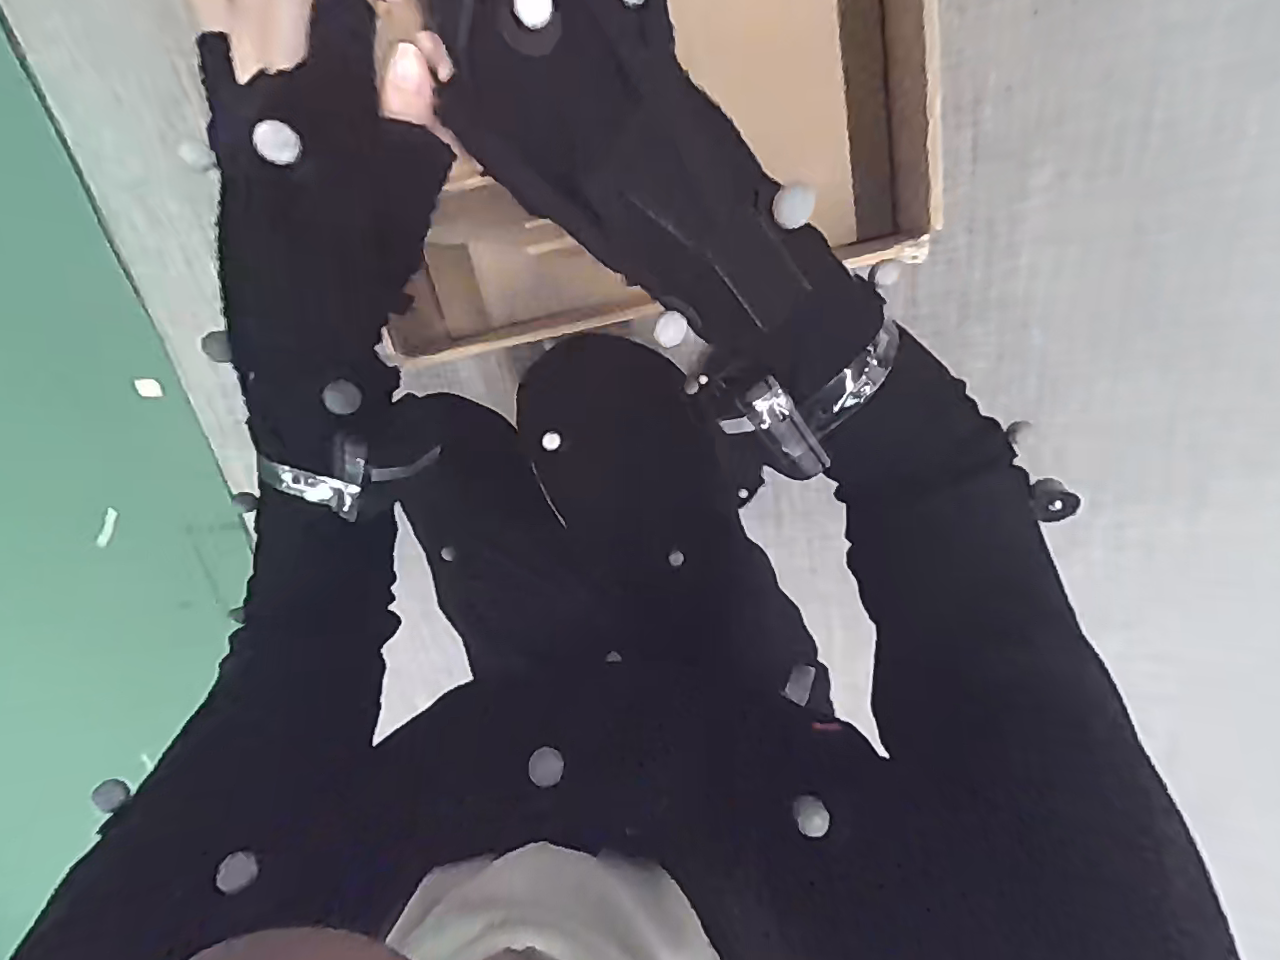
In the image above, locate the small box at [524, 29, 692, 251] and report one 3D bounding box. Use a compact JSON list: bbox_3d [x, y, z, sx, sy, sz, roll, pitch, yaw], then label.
[{"bbox_3d":[-0.037,-0.360,0.610,0.179,0.176,0.168,-5,110,13],"label":"small box"}]
